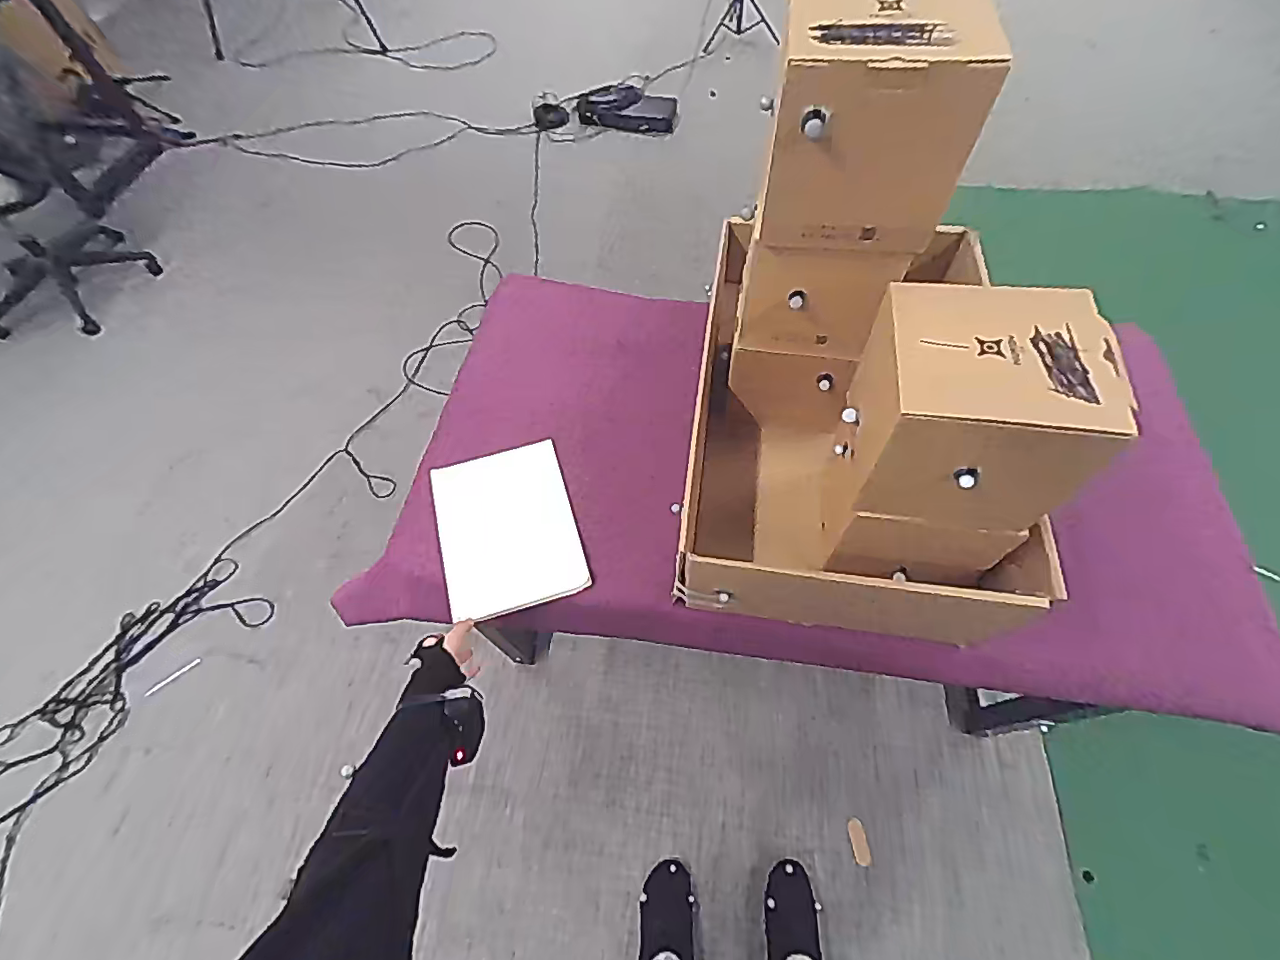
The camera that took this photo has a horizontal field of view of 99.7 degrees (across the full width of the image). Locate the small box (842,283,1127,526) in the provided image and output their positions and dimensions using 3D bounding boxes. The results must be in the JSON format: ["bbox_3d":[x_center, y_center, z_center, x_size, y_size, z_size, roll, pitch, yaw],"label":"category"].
[{"bbox_3d":[0.312,-0.069,0.536,0.179,0.176,0.168,6,58,10],"label":"small box"}]

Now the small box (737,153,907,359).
[{"bbox_3d":[0.215,-0.272,0.673,0.168,0.176,0.179,7,61,8],"label":"small box"}]
